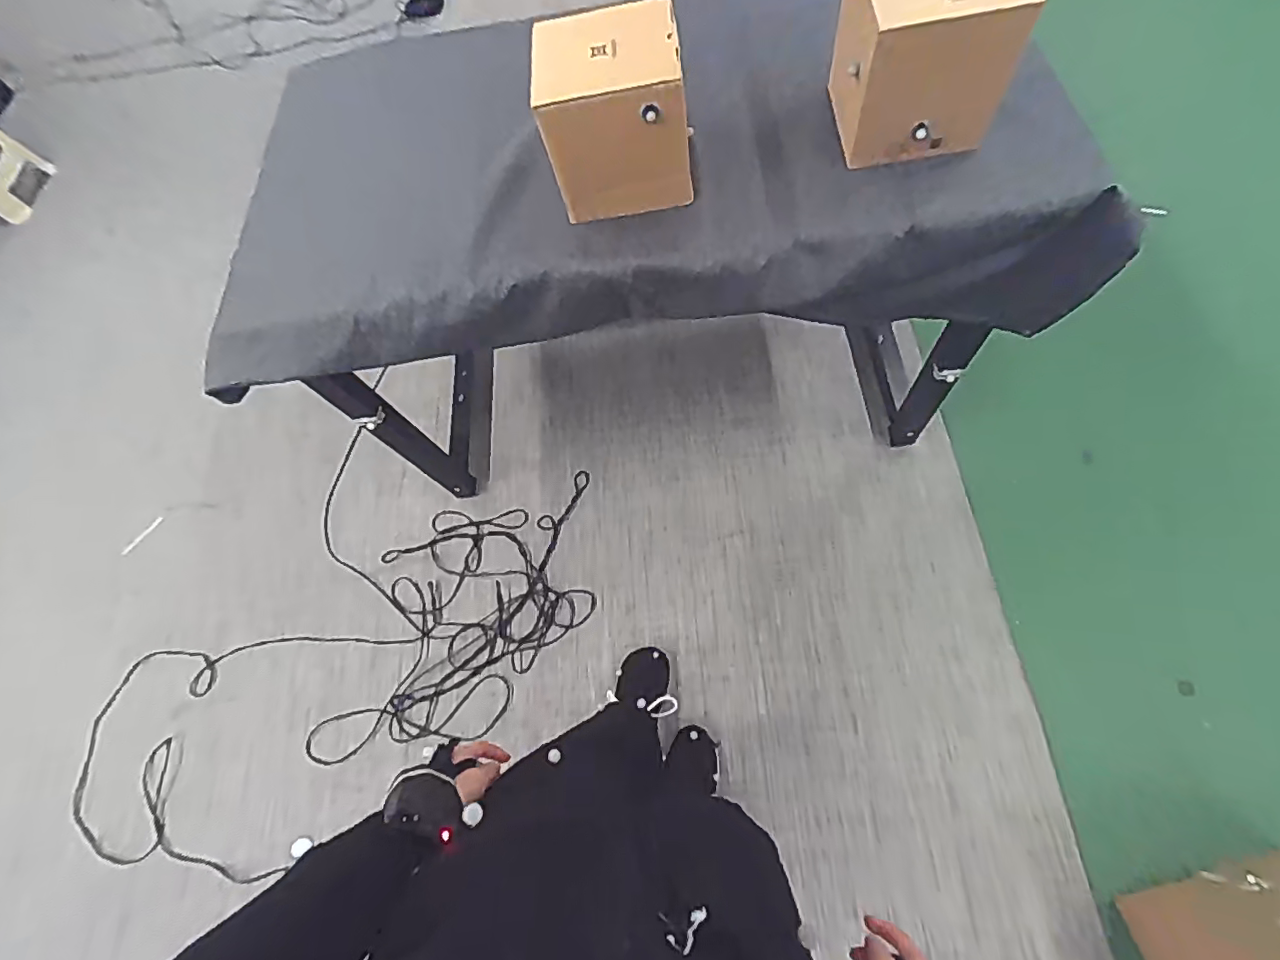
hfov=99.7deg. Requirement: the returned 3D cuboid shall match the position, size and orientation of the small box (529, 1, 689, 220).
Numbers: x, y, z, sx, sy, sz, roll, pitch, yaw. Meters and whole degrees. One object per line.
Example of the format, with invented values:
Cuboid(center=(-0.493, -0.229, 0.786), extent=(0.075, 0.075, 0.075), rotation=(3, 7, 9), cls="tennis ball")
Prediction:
Cuboid(center=(-0.033, -0.471, 0.710), extent=(0.179, 0.176, 0.168), rotation=(-6, 66, 6), cls="small box")
